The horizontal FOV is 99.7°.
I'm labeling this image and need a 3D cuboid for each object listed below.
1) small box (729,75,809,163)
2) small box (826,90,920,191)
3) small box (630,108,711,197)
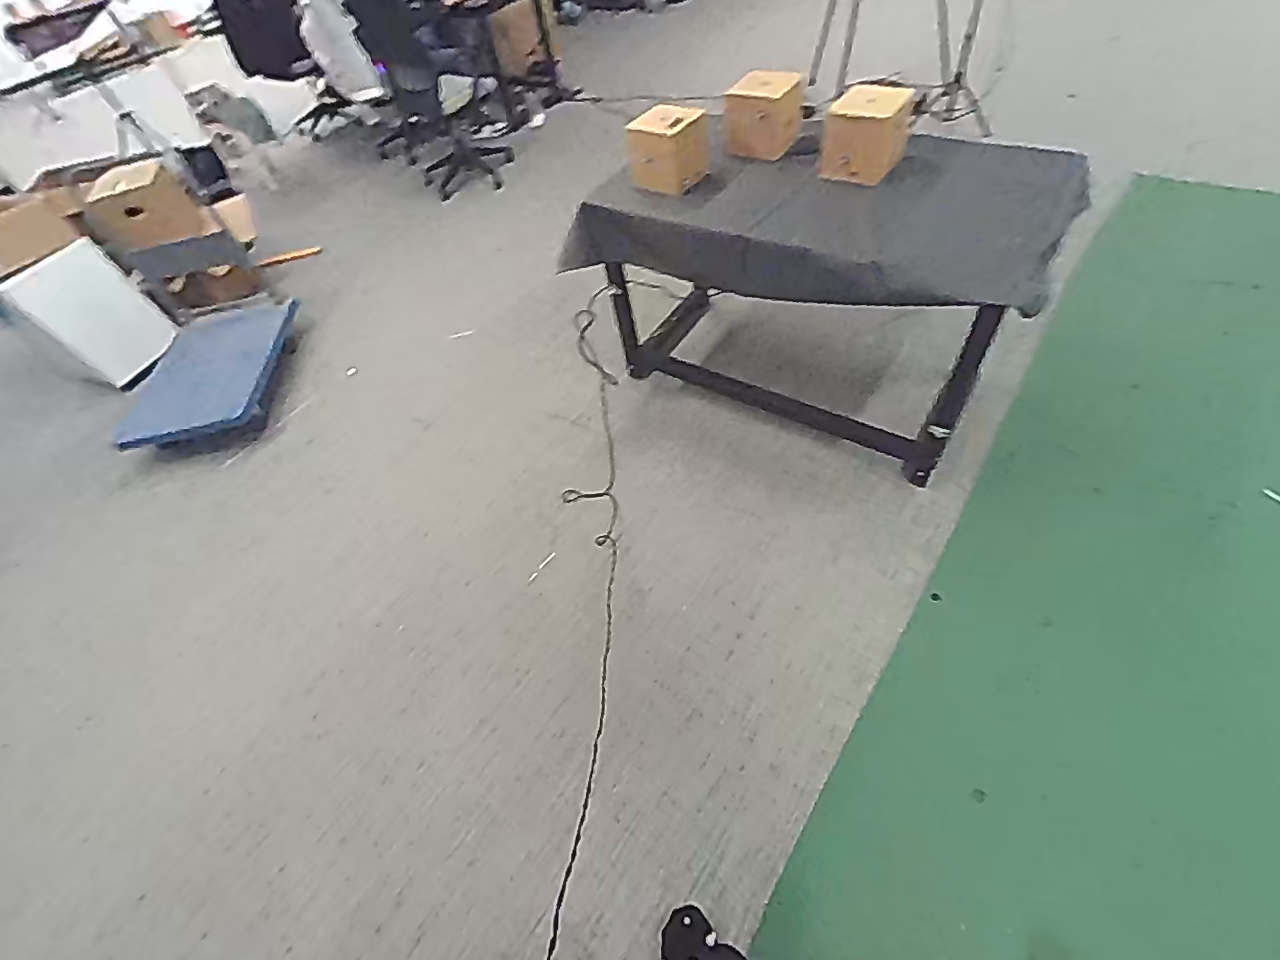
[{"bbox_3d":[0.385,-1.079,1.623,0.179,0.176,0.168,27,63,27],"label":"small box"},{"bbox_3d":[0.621,-0.917,1.463,0.168,0.176,0.179,29,64,27],"label":"small box"},{"bbox_3d":[0.097,-0.959,1.590,0.179,0.176,0.168,29,63,29],"label":"small box"}]
